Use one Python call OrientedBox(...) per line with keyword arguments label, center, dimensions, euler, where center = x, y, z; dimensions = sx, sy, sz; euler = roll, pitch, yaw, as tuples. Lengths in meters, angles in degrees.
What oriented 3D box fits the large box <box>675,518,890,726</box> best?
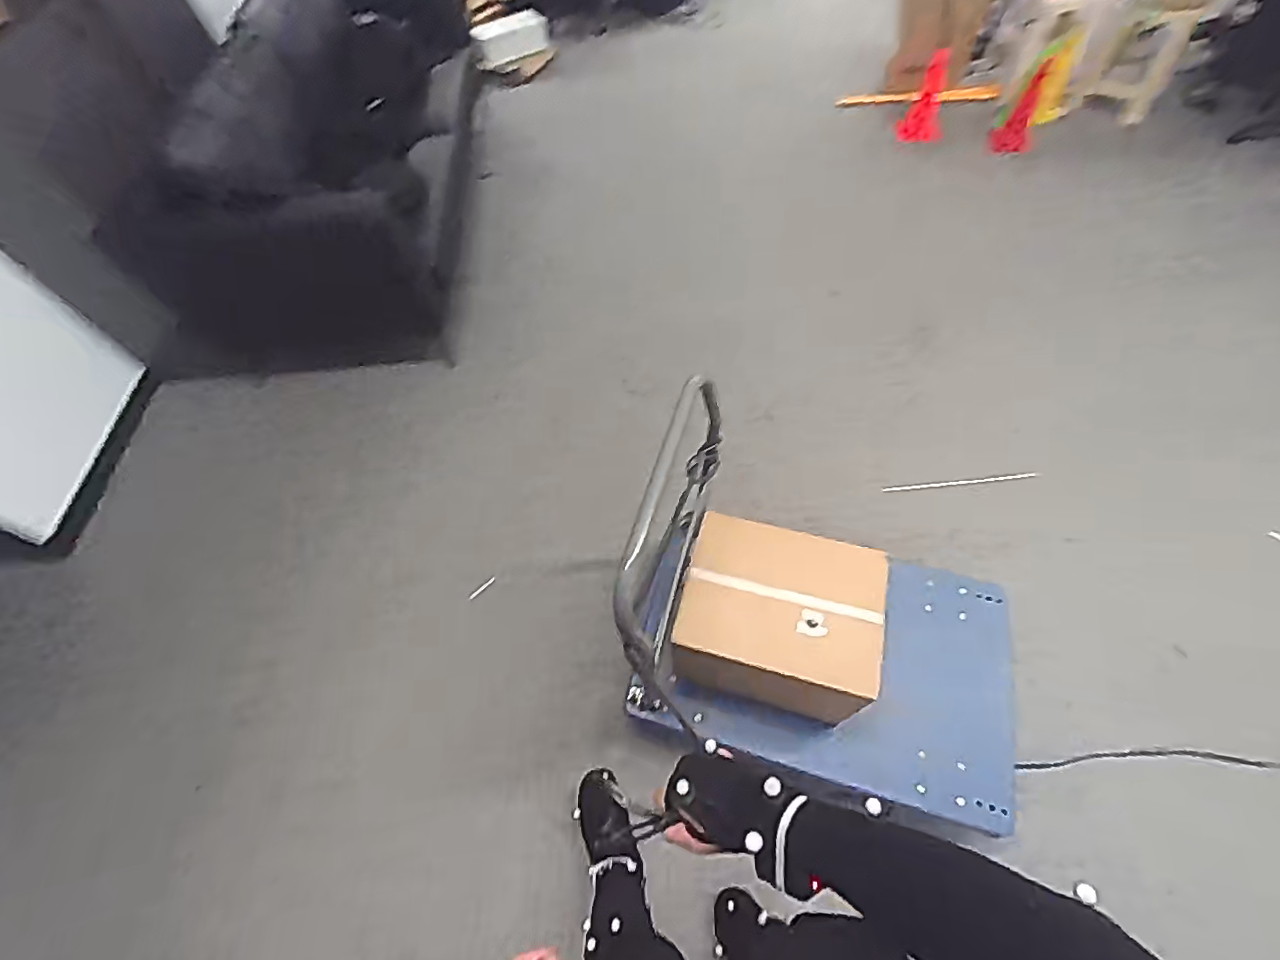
OrientedBox(label="large box", center=(0.308, 0.329, 1.238), dimensions=(0.408, 0.320, 0.320), euler=(13, 60, 12))
